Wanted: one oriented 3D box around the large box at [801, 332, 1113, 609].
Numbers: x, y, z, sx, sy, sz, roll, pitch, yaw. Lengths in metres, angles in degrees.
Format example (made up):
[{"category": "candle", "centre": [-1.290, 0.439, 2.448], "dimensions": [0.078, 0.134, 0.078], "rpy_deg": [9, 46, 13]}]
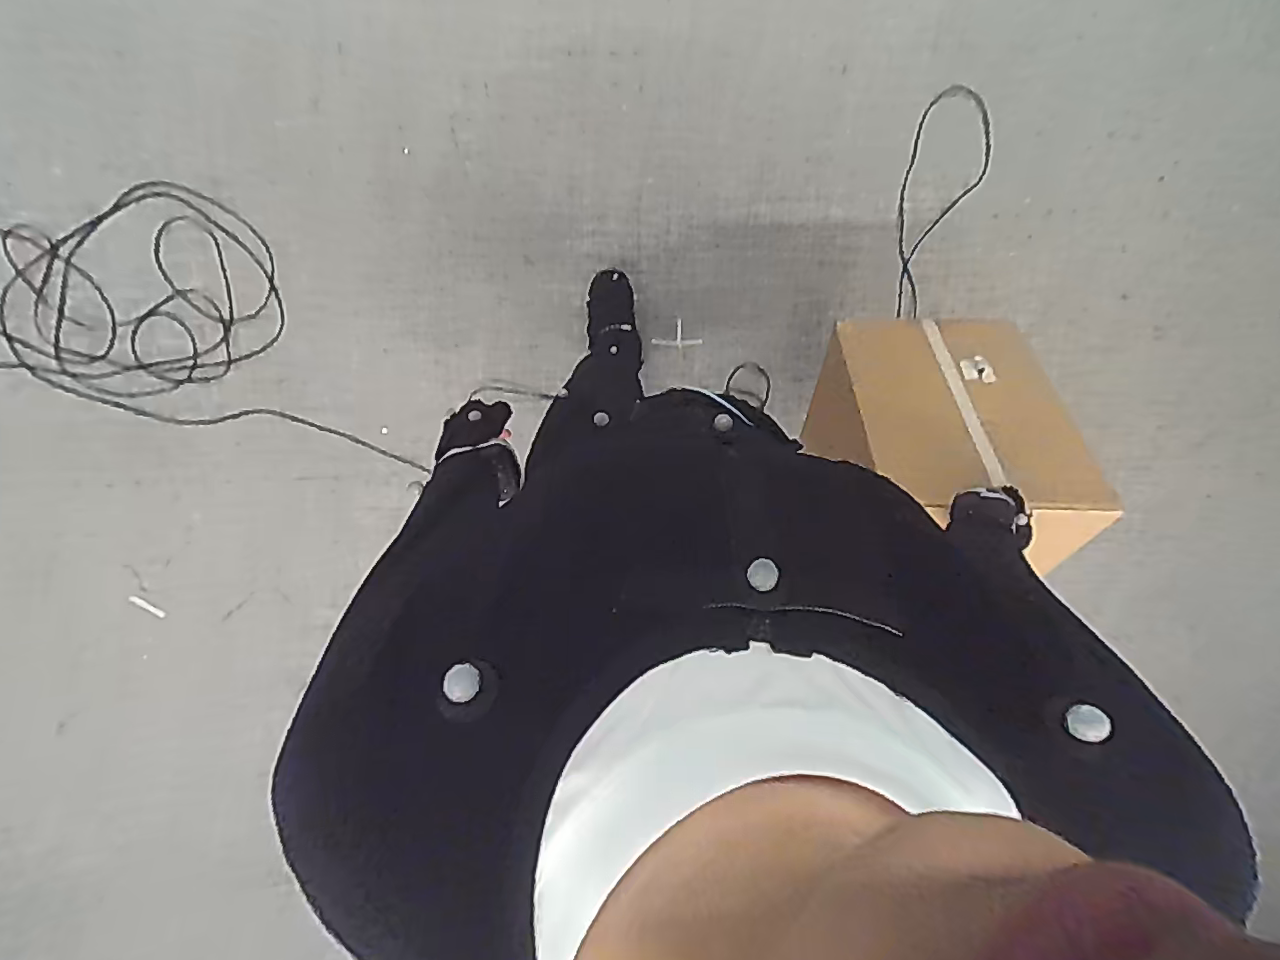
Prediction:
[{"category": "large box", "centre": [0.498, -0.015, 0.970], "dimensions": [0.320, 0.408, 0.320], "rpy_deg": [1, 141, 2]}]
